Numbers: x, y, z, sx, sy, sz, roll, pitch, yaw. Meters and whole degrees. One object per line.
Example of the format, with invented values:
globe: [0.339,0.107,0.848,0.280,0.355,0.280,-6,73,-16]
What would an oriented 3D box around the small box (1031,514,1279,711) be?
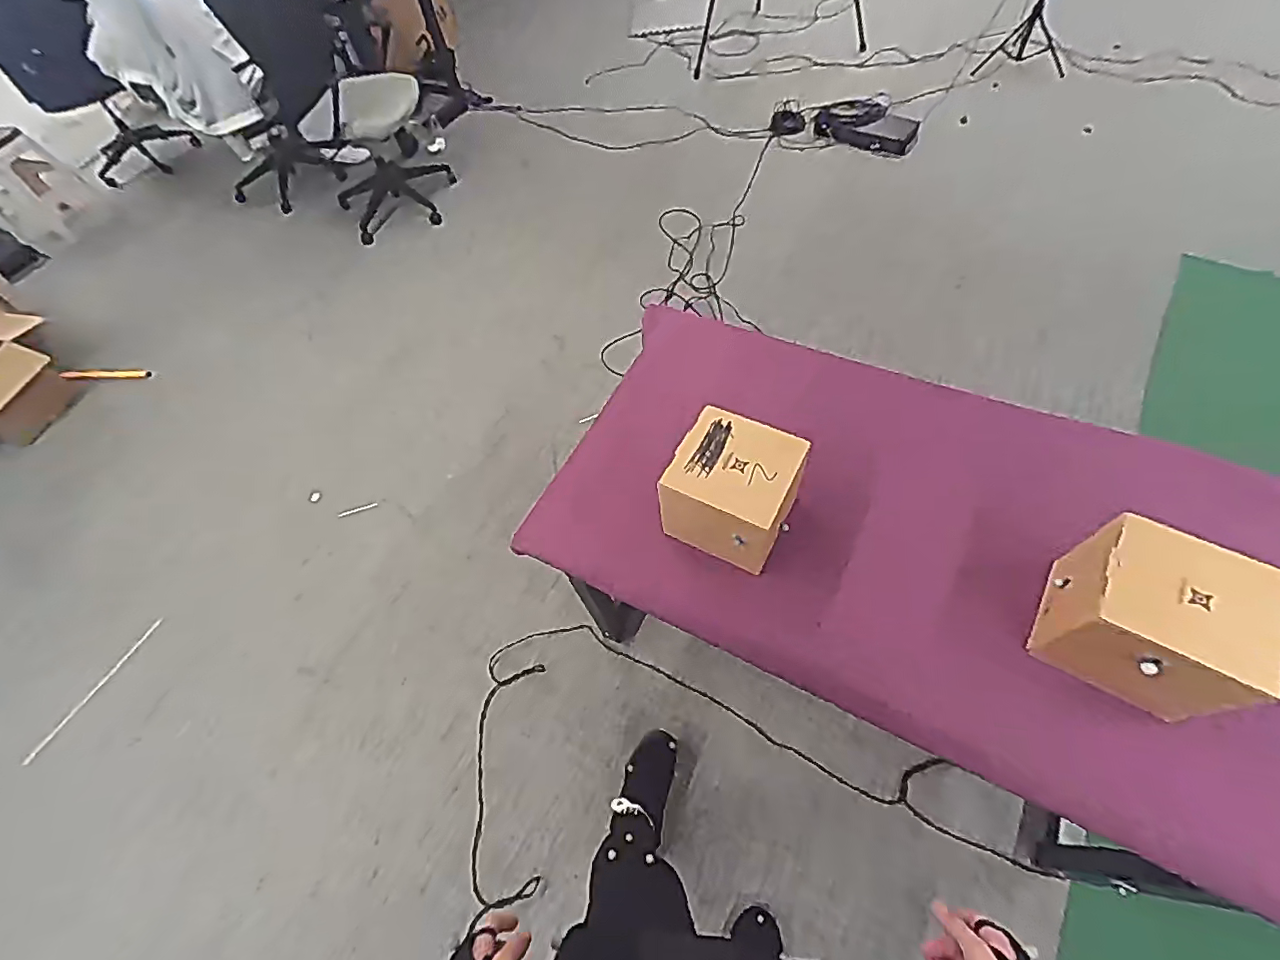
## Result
small box: [0.664,0.180,0.707,0.179,0.176,0.168,27,66,22]
